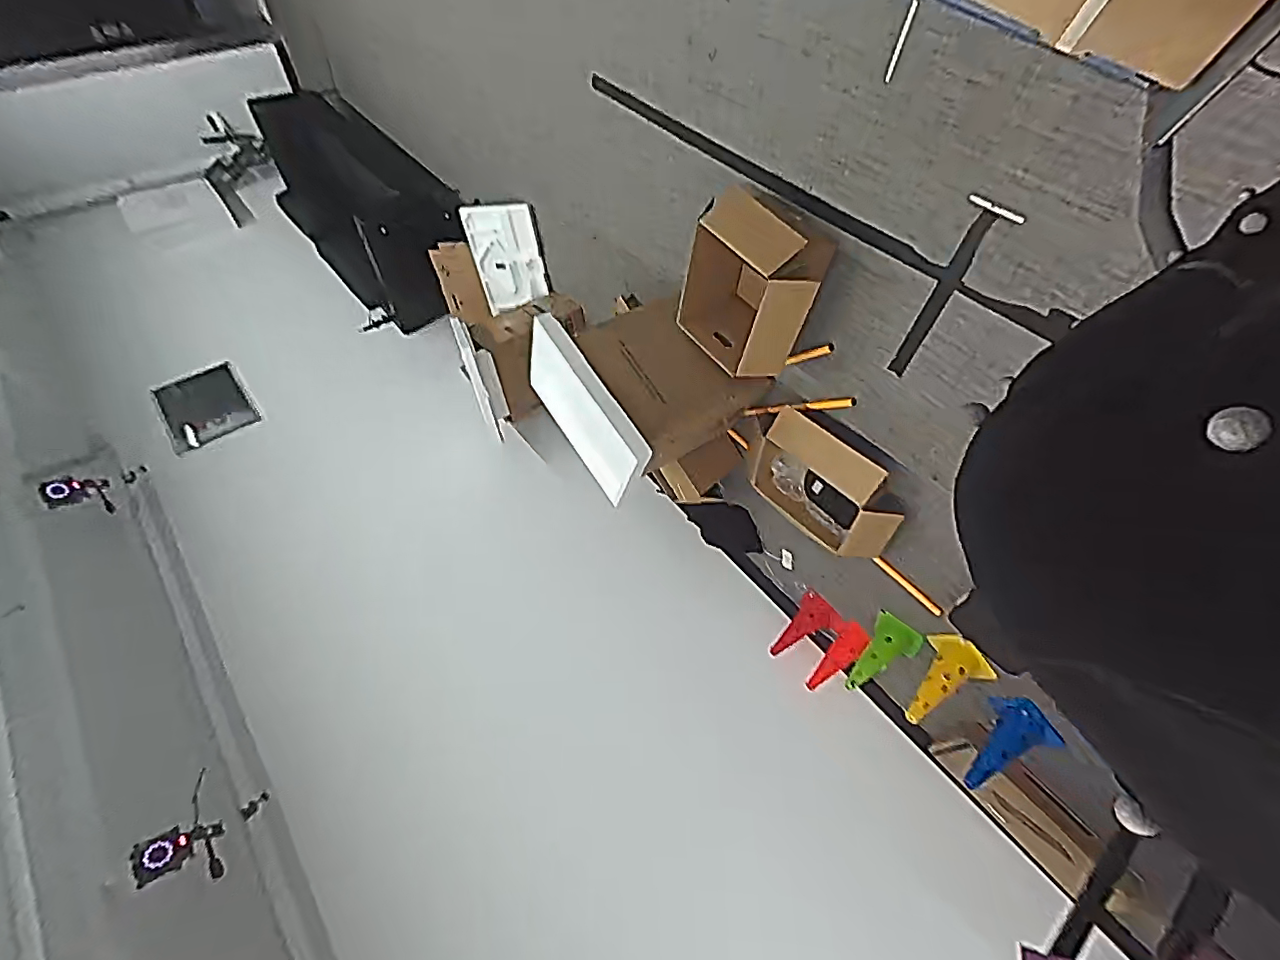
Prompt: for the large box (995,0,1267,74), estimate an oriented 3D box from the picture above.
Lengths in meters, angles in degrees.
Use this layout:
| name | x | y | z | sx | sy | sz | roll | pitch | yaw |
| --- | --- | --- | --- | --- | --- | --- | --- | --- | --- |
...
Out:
| name | x | y | z | sx | sy | sz | roll | pitch | yaw |
| --- | --- | --- | --- | --- | --- | --- | --- | --- | --- |
| large box | 0.669 | -0.780 | 0.600 | 0.320 | 0.320 | 0.408 | 32 | 151 | 9 |
